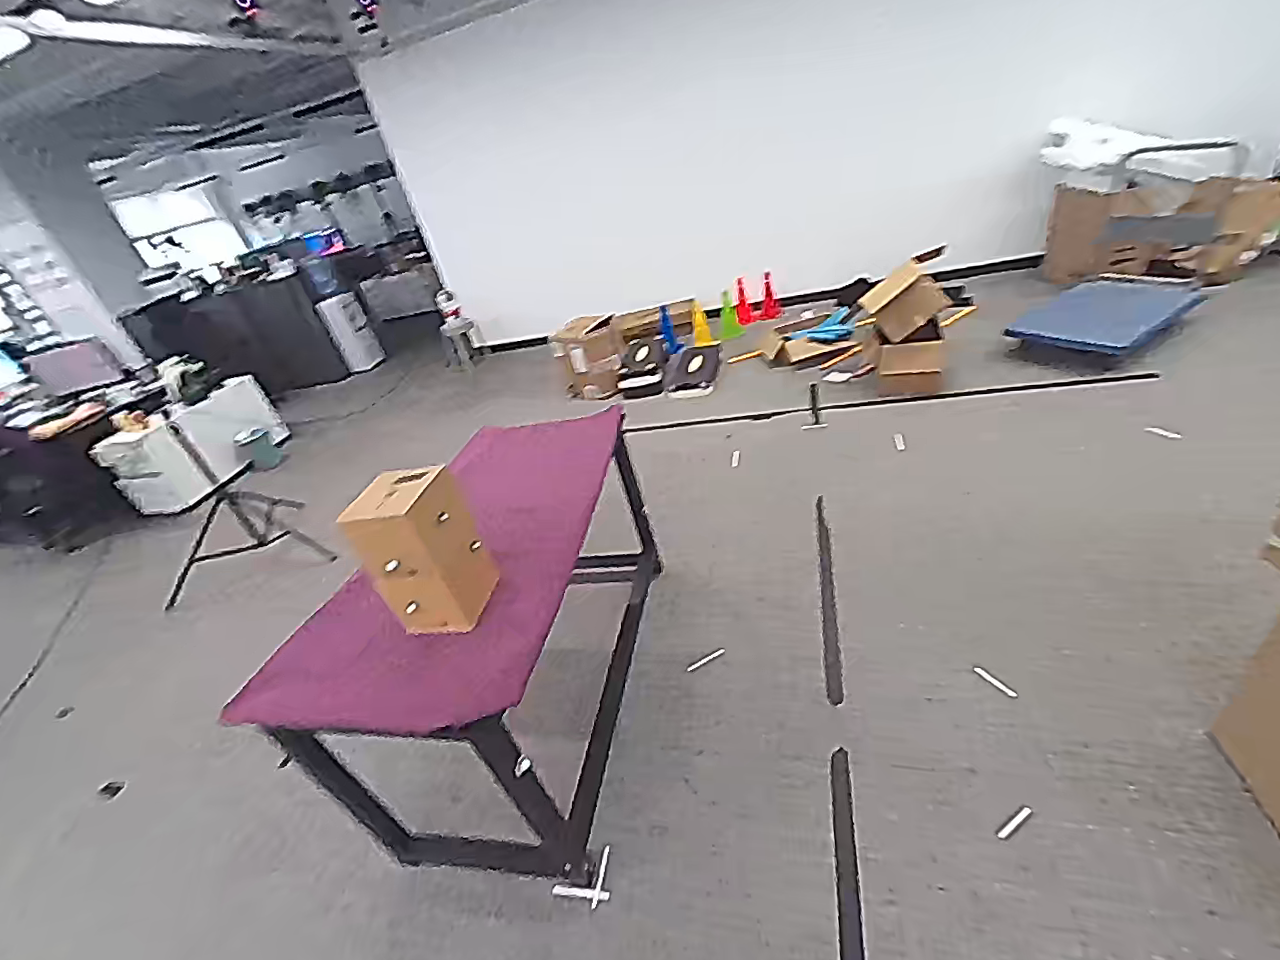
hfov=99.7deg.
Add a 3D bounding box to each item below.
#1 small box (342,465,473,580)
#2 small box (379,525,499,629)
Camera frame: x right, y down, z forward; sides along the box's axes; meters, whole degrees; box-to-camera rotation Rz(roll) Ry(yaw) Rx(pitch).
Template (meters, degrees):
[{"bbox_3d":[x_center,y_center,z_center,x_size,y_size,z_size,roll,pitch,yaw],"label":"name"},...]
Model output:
[{"bbox_3d":[-0.479,0.090,1.152,0.168,0.176,0.179,-7,33,15],"label":"small box"},{"bbox_3d":[-0.447,0.226,1.239,0.168,0.176,0.179,-6,33,15],"label":"small box"}]
